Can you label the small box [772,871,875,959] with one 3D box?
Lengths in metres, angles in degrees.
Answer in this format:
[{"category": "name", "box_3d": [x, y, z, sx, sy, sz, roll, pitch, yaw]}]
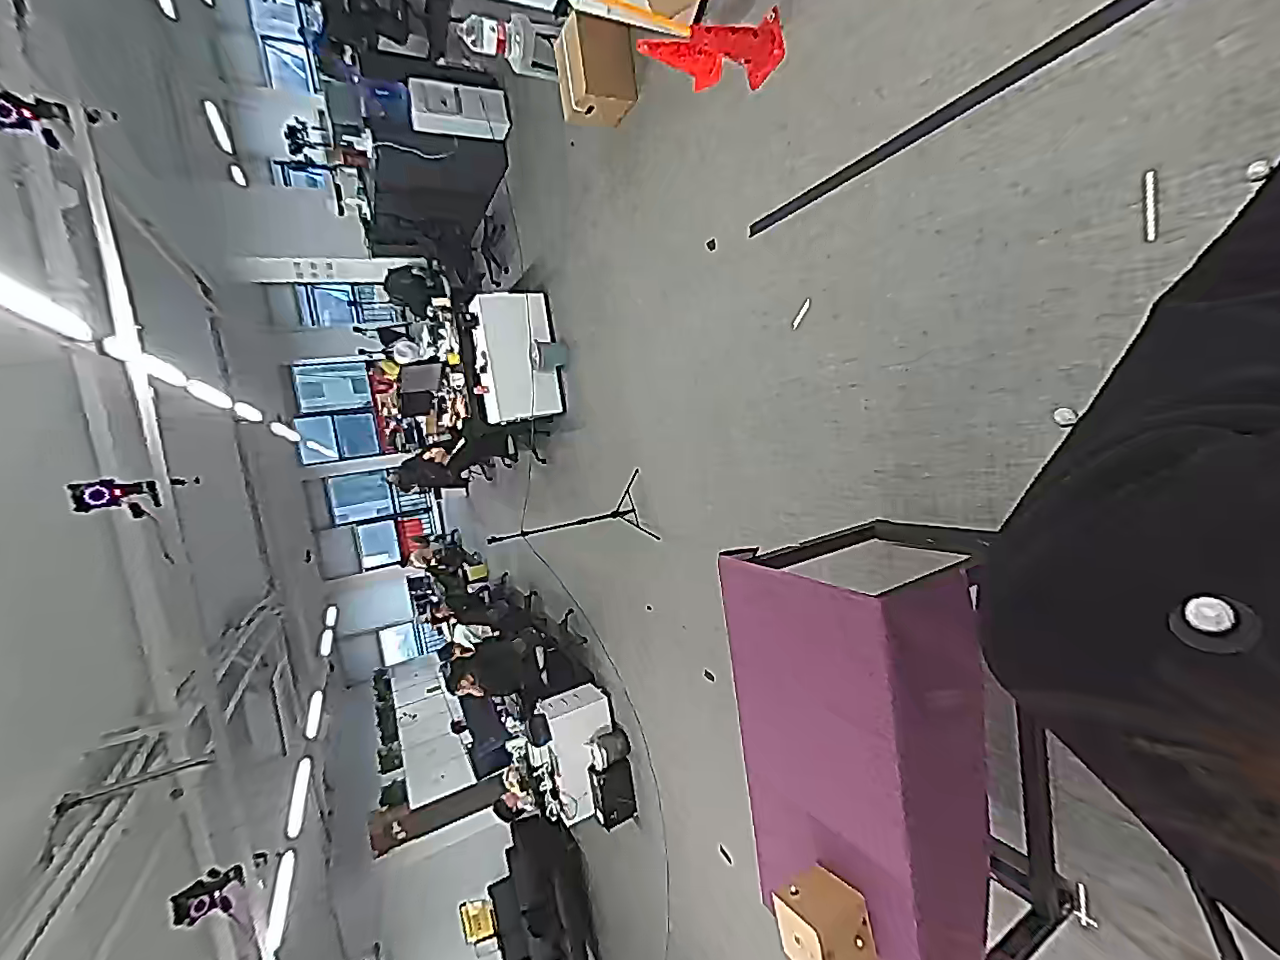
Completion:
[{"category": "small box", "box_3d": [0.479, 1.174, 1.417, 0.179, 0.176, 0.168, -14, 87, 63]}]
